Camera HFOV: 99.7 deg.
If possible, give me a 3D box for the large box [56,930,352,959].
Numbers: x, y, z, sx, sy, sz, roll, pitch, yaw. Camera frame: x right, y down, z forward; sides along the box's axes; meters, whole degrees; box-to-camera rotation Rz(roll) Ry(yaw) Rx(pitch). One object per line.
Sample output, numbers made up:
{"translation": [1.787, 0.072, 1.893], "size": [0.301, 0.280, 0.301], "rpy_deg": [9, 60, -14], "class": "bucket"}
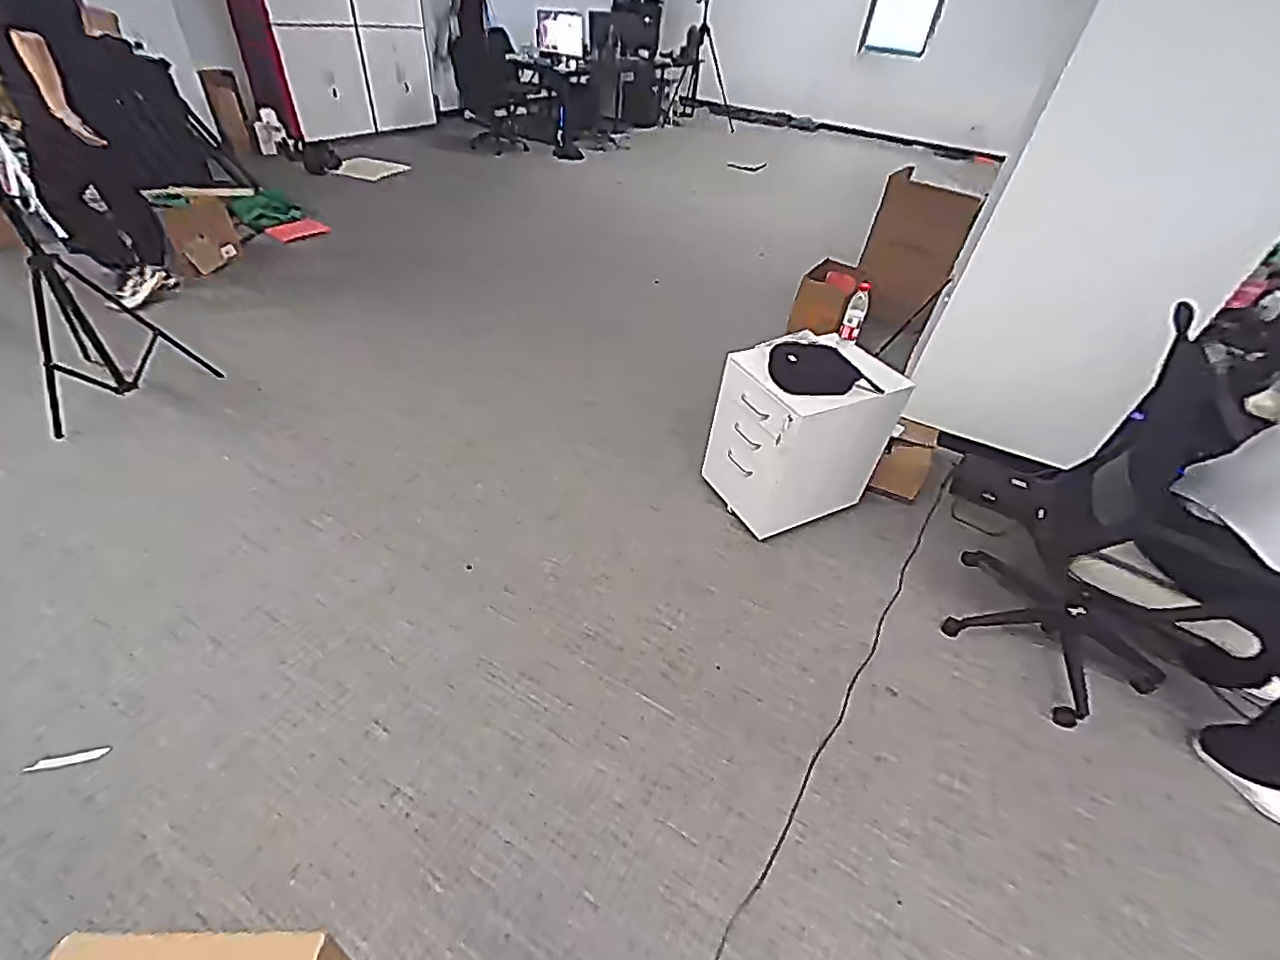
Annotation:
{"translation": [-0.500, 0.761, 0.590], "size": [0.320, 0.408, 0.320], "rpy_deg": [0, 29, 4], "class": "large box"}
